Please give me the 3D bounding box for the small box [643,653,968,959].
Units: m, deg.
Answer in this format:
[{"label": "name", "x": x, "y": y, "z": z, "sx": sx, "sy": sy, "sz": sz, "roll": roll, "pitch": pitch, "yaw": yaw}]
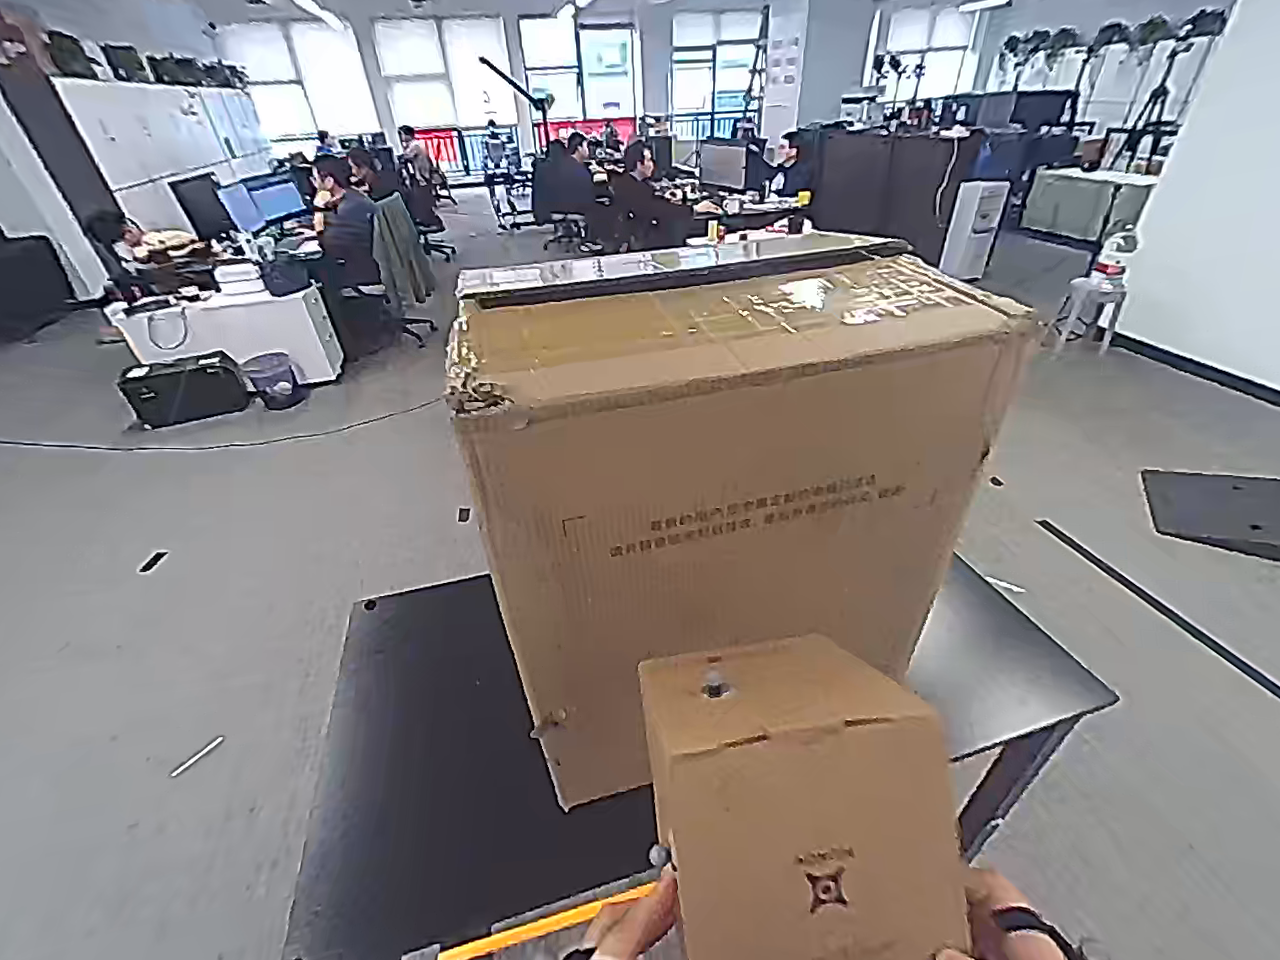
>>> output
[{"label": "small box", "x": 0.098, "y": 0.236, "z": 0.395, "sx": 0.168, "sy": 0.179, "sz": 0.176, "roll": -7, "pitch": -3, "yaw": -5}]
